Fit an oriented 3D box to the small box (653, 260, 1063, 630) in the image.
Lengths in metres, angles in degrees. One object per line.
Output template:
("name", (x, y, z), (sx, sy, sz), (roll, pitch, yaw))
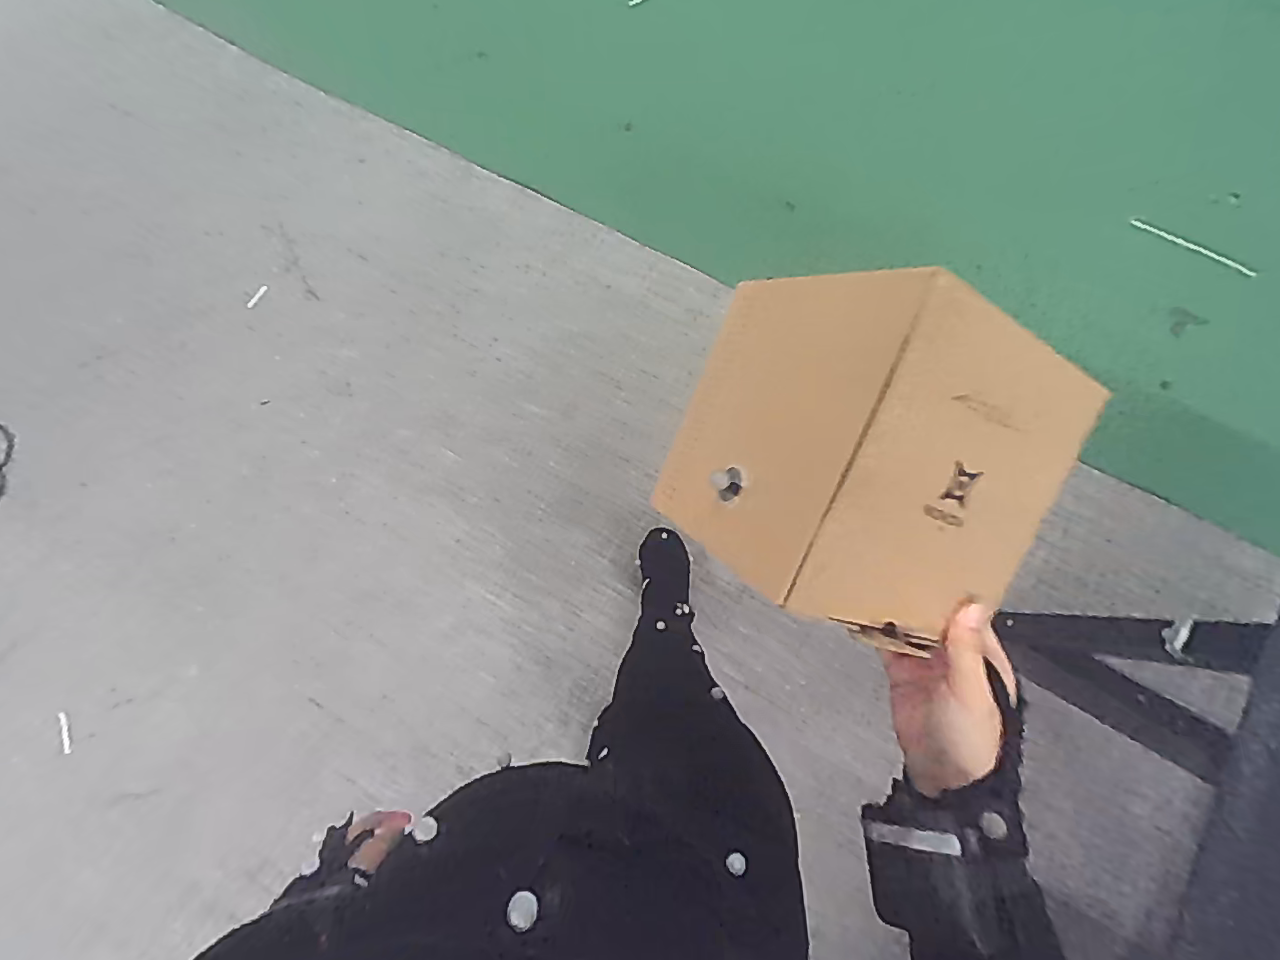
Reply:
("small box", (0.128, -0.024, 0.374), (0.168, 0.176, 0.179), (17, 97, -28))
